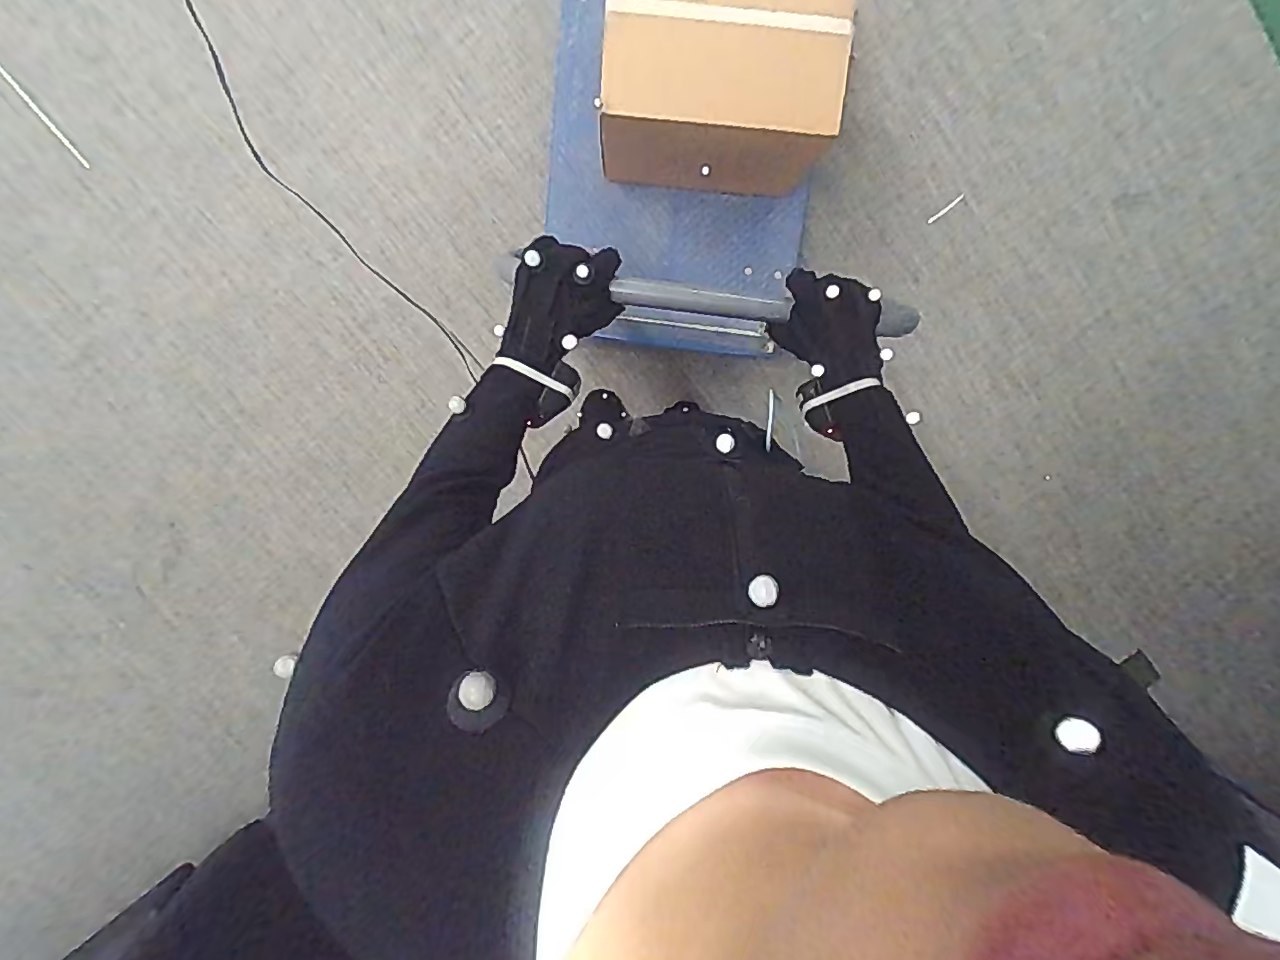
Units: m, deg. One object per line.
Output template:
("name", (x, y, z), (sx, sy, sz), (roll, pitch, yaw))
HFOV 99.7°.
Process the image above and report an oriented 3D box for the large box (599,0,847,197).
("large box", (0.134, -0.761, 1.032), (0.408, 0.320, 0.320), (3, 99, -2))
